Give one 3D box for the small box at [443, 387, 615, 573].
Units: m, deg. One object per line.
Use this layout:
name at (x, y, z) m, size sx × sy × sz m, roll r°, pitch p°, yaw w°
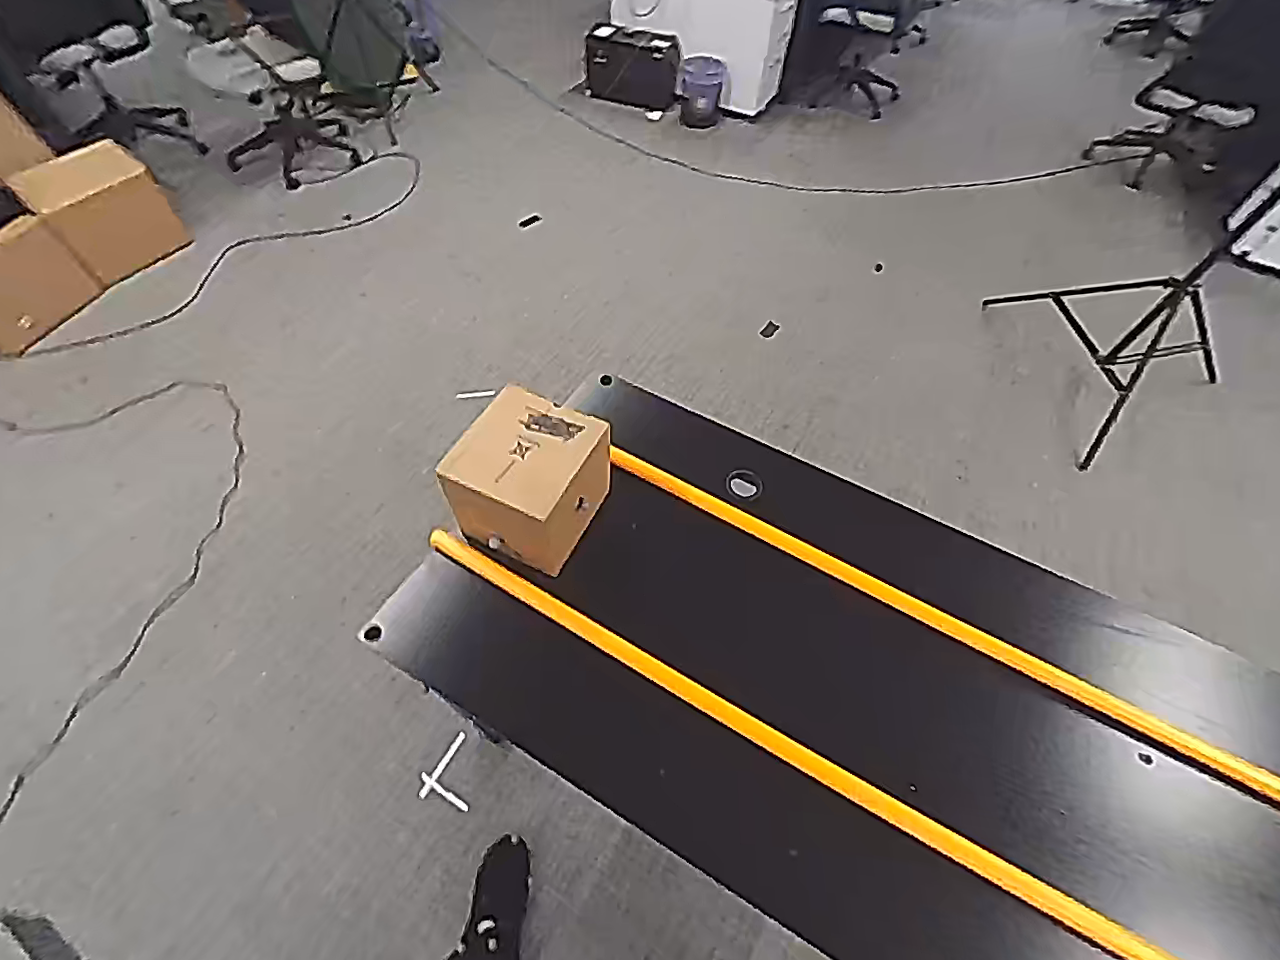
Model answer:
small box at (-0.149, 0.003, 0.784) m, size 0.168 × 0.176 × 0.179 m, roll 23°, pitch 58°, yaw 12°
